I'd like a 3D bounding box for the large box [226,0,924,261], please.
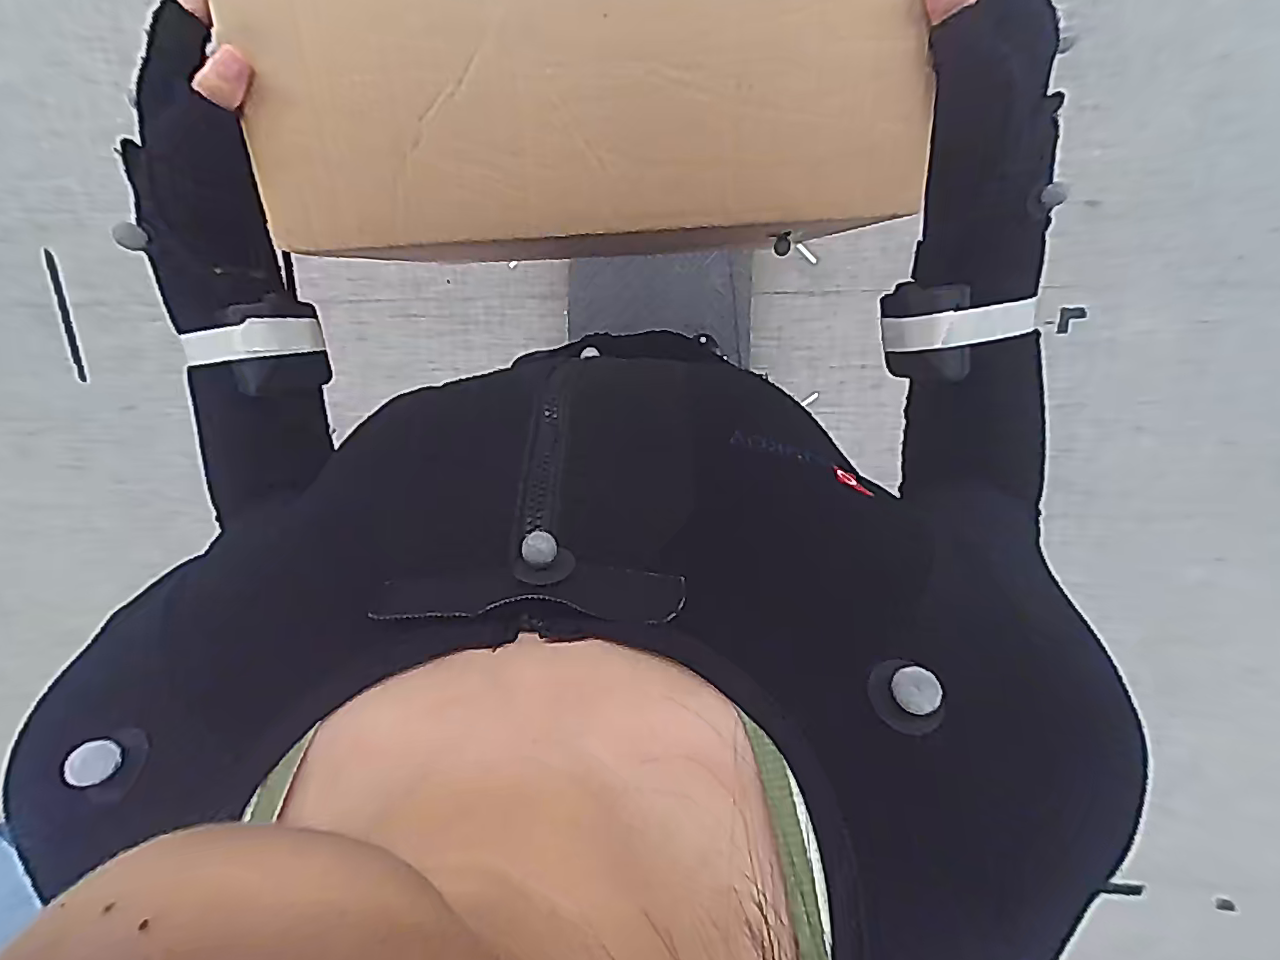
[{"bbox_3d":[-0.036,-0.356,0.436,0.408,0.320,0.320,-3,110,1],"label":"large box"}]
